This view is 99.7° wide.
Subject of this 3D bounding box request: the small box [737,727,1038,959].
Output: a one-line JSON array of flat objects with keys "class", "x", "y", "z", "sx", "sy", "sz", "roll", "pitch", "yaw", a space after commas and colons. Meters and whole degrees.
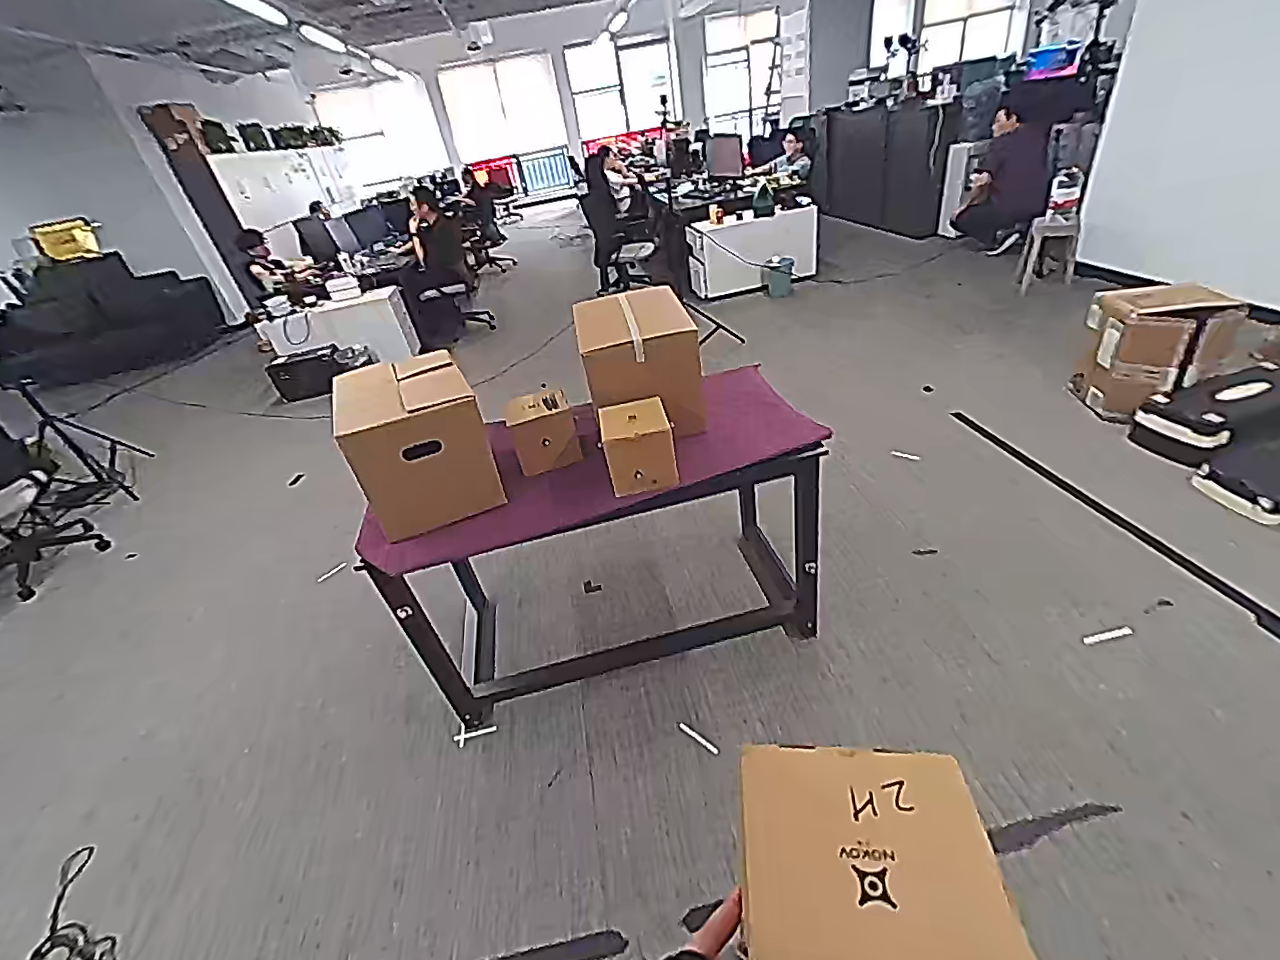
[{"class": "small box", "x": 0.159, "y": 0.316, "z": 0.402, "sx": 0.168, "sy": 0.176, "sz": 0.179, "roll": 0, "pitch": 32, "yaw": 7}]
